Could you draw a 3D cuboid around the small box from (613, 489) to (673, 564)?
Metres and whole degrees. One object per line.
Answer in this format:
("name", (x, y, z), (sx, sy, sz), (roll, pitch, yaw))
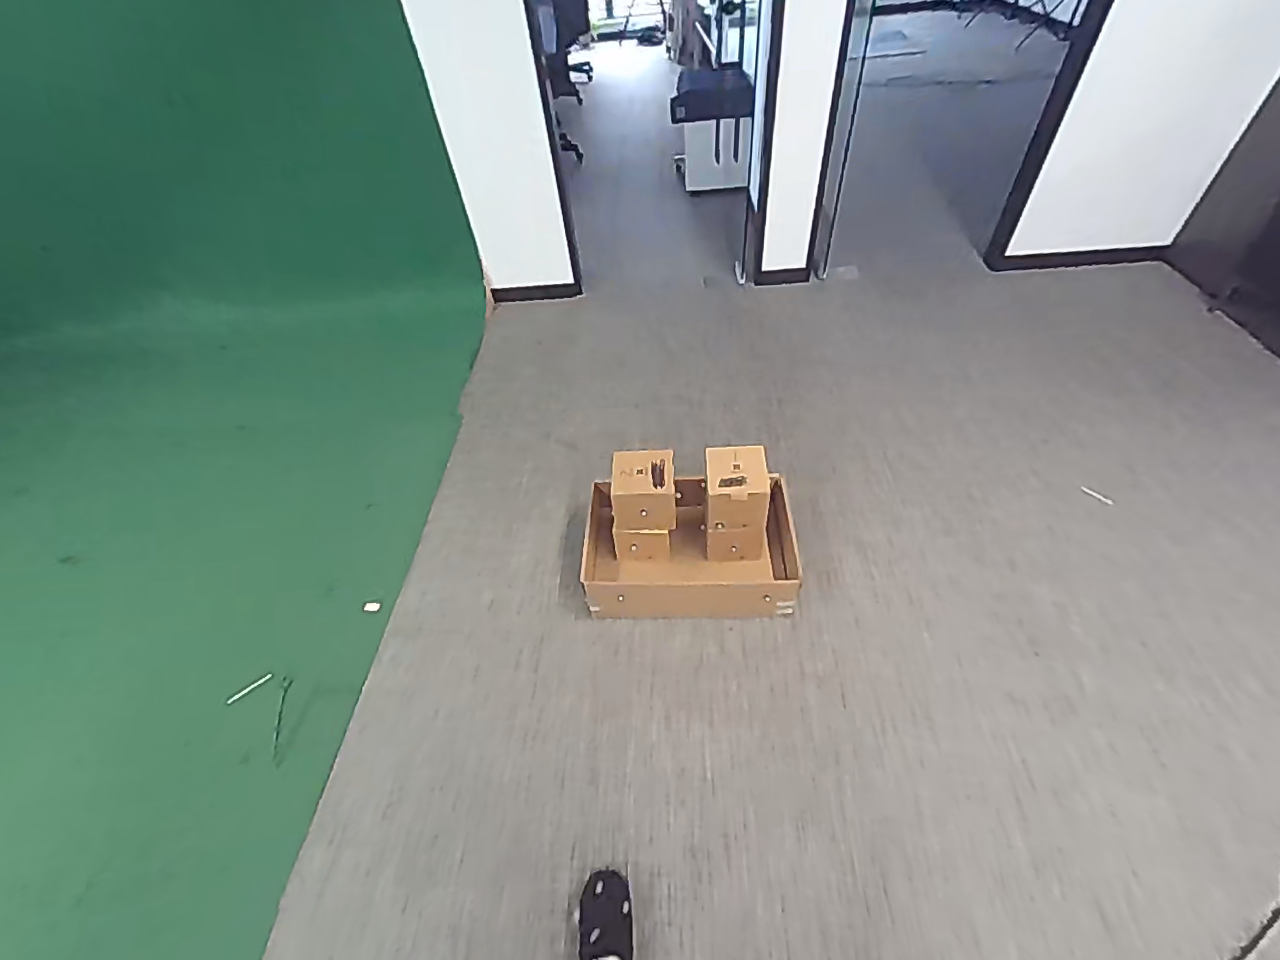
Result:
("small box", (0.016, 0.148, 1.689), (0.168, 0.176, 0.179), (2, 48, 6))

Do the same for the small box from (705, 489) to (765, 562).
("small box", (0.288, 0.141, 1.666), (0.168, 0.176, 0.179), (-1, 49, 4))

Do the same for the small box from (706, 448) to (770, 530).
("small box", (0.275, 0.031, 1.543), (0.168, 0.176, 0.179), (-1, 49, 5))
